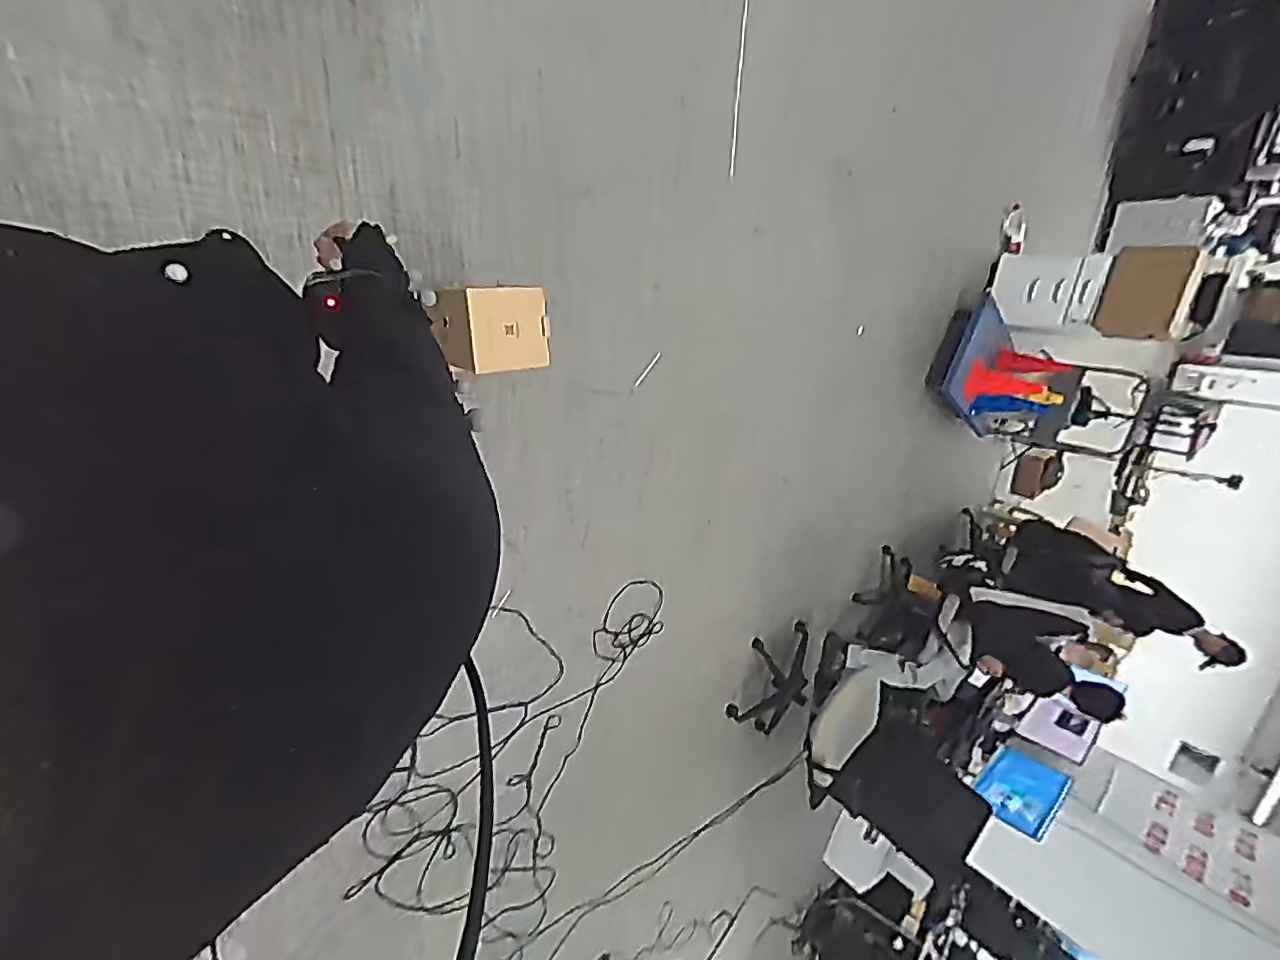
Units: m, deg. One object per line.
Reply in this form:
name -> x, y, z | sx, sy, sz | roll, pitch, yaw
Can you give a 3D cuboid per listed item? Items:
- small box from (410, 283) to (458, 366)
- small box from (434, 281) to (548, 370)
small box -> -0.429, -0.373, 1.283 | 0.168, 0.176, 0.179 | -17, 116, -36
small box -> -0.320, -0.339, 1.165 | 0.179, 0.176, 0.168 | -18, 116, -35
